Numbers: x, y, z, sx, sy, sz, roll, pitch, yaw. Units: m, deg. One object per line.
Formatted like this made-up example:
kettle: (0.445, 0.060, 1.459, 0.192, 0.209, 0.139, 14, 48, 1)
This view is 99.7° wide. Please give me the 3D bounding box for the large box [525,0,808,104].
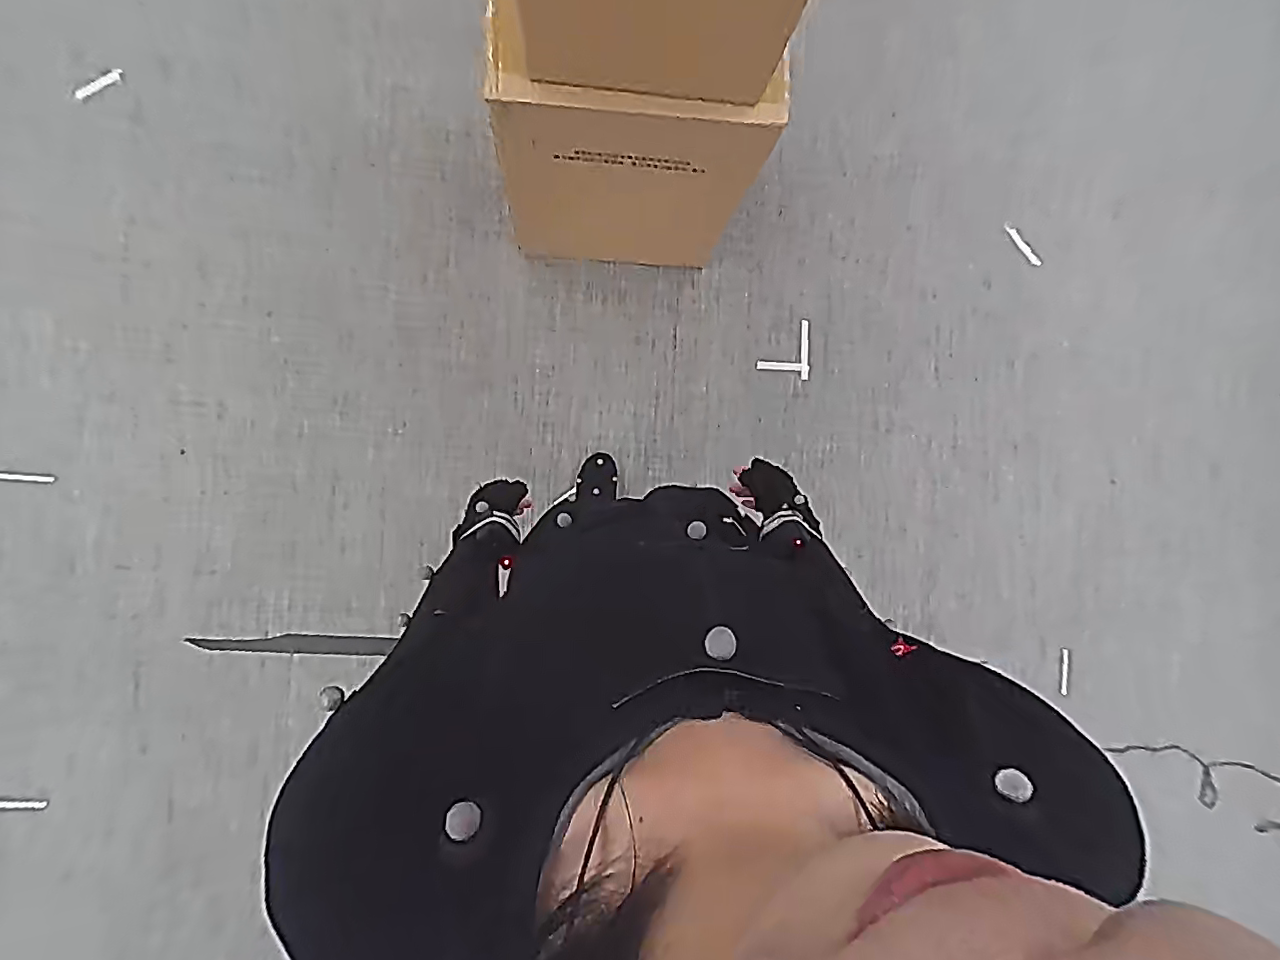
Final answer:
large box: (0.033, -0.817, 0.790, 0.408, 0.320, 0.320, 1, 89, -8)
